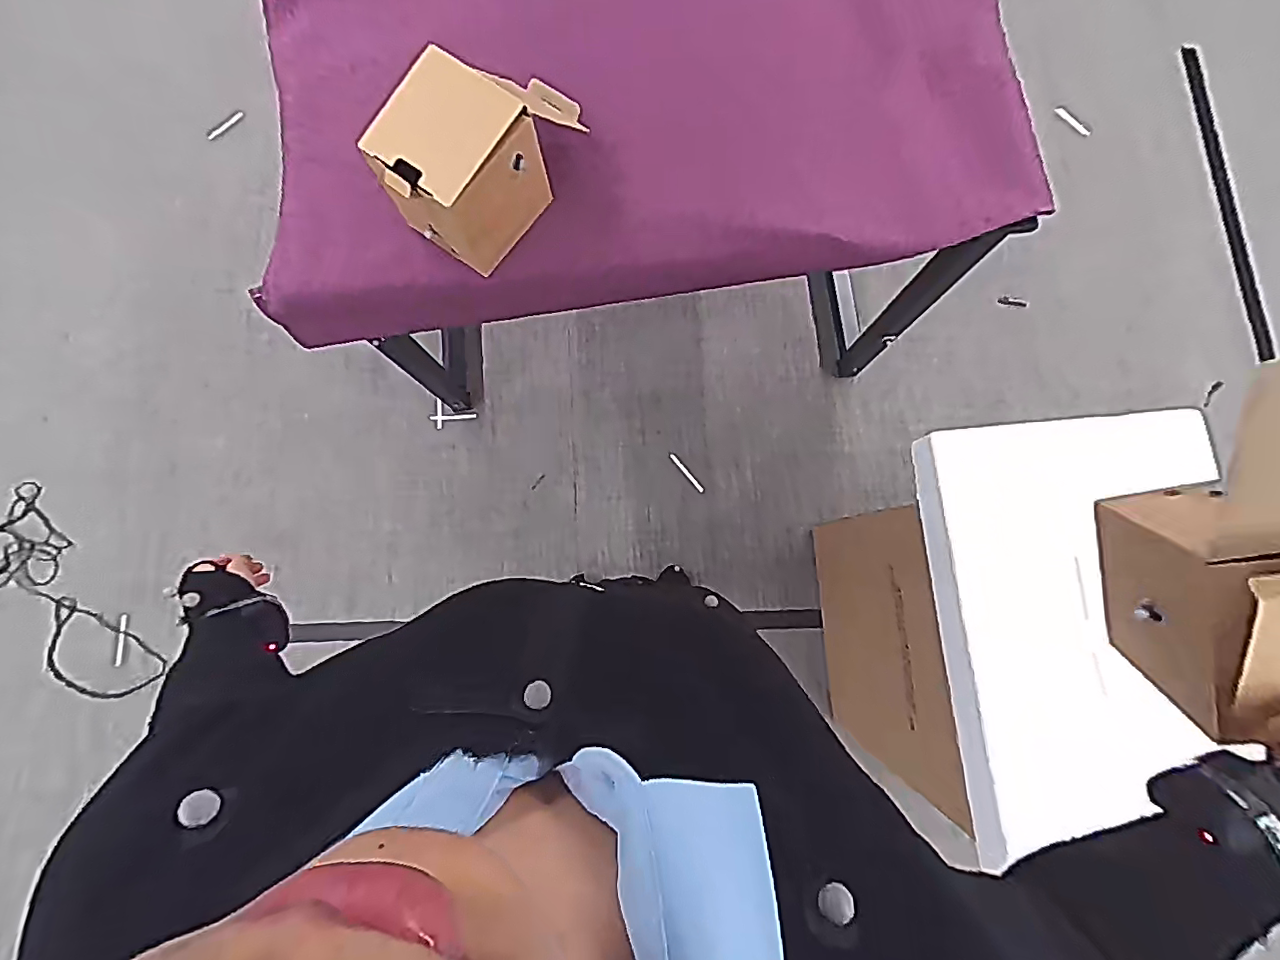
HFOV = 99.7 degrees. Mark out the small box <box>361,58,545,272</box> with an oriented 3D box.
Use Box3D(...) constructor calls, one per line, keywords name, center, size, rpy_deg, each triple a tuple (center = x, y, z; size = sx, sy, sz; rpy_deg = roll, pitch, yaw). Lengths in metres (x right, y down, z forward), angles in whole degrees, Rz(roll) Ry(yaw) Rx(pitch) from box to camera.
Box3D(name="small box", center=(-0.258, -0.454, 0.801), size=(0.168, 0.176, 0.179), rpy_deg=(36, 82, 7))
